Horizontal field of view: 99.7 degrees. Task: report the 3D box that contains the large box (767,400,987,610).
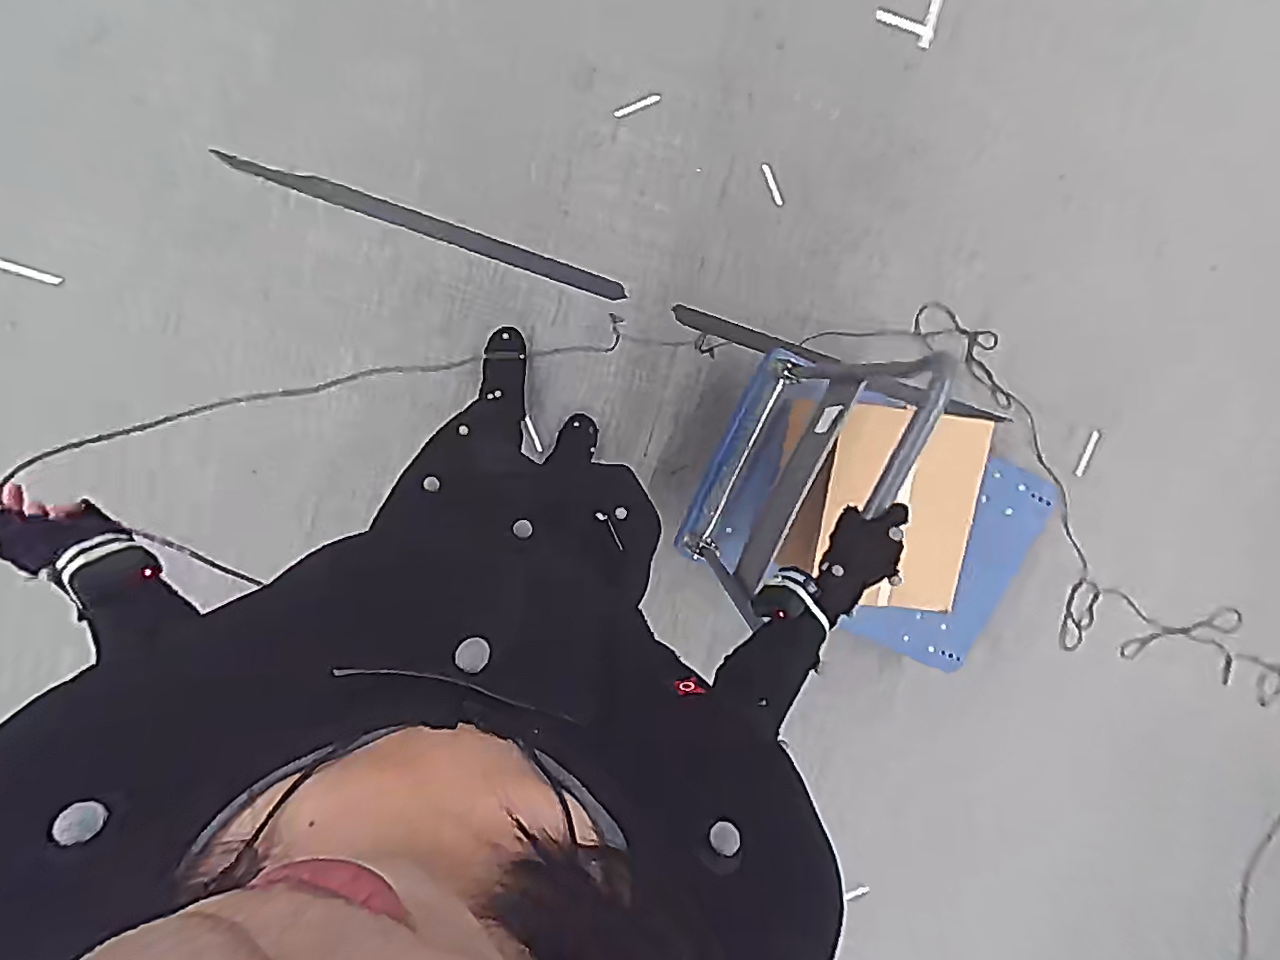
[{"bbox_3d":[0.508,0.036,1.236,0.320,0.320,0.408,7,99,-4],"label":"large box"}]
